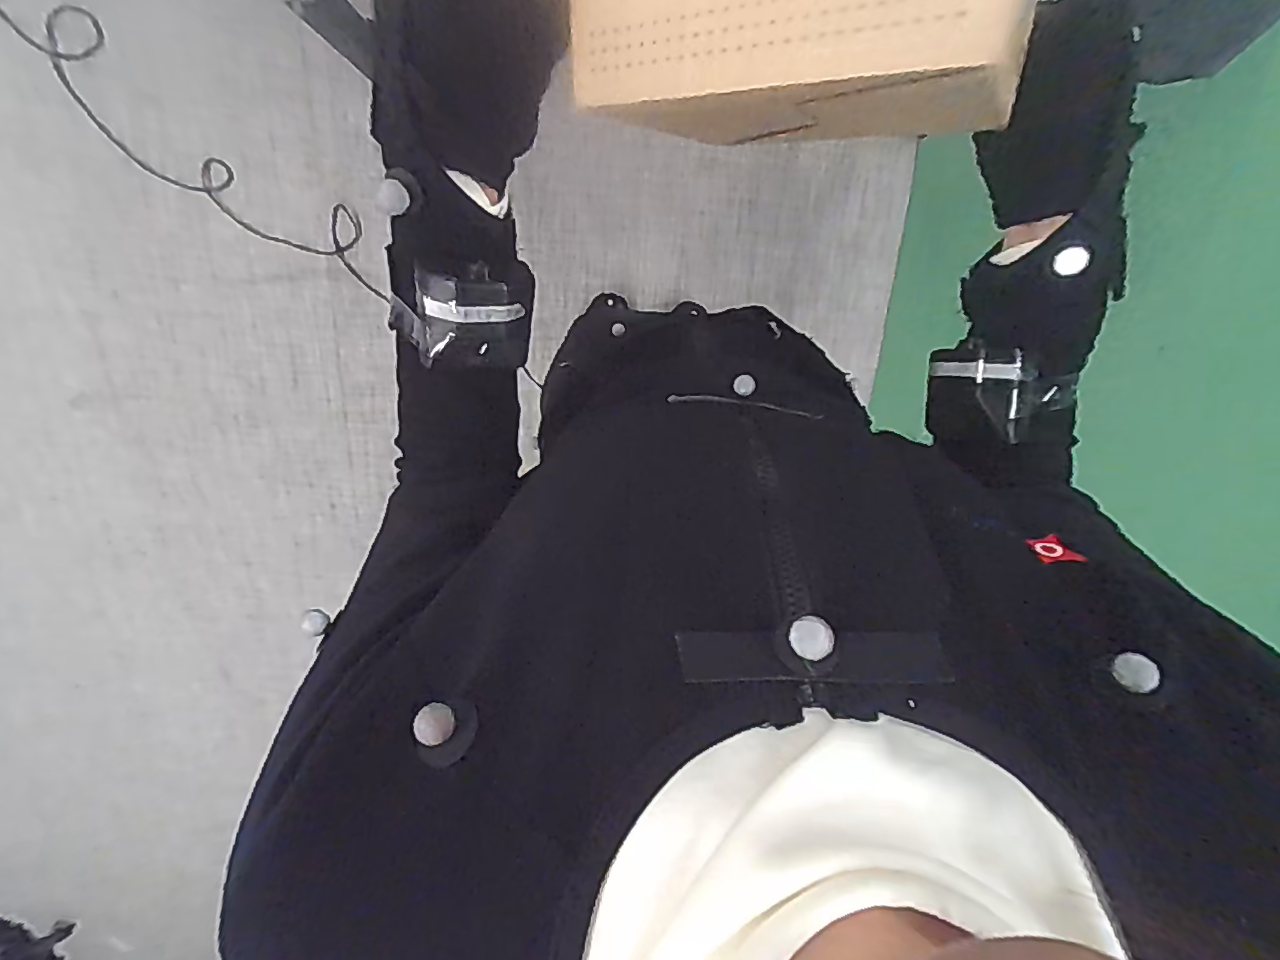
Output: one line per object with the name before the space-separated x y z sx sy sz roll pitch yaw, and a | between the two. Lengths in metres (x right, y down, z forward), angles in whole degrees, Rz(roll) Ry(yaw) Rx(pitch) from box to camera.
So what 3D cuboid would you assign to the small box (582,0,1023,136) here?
small box | 0.086 -0.266 0.249 0.179 0.168 0.176 14 119 27
